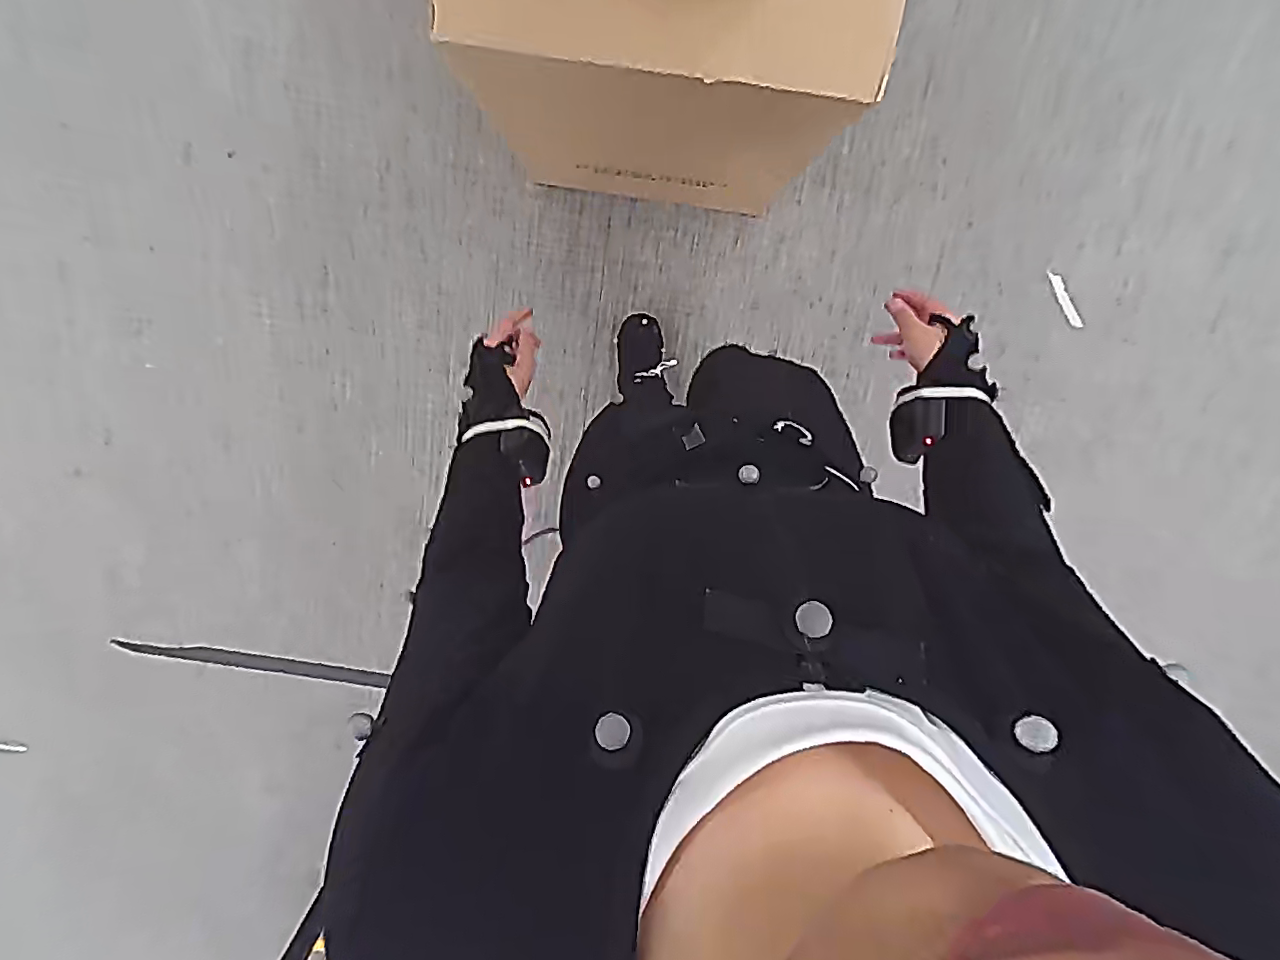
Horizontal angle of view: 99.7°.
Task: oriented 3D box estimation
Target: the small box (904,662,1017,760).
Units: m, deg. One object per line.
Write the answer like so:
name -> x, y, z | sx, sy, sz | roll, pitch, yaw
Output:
small box -> 0.847, 0.610, 1.447 | 0.179, 0.176, 0.168 | 10, 102, -2
